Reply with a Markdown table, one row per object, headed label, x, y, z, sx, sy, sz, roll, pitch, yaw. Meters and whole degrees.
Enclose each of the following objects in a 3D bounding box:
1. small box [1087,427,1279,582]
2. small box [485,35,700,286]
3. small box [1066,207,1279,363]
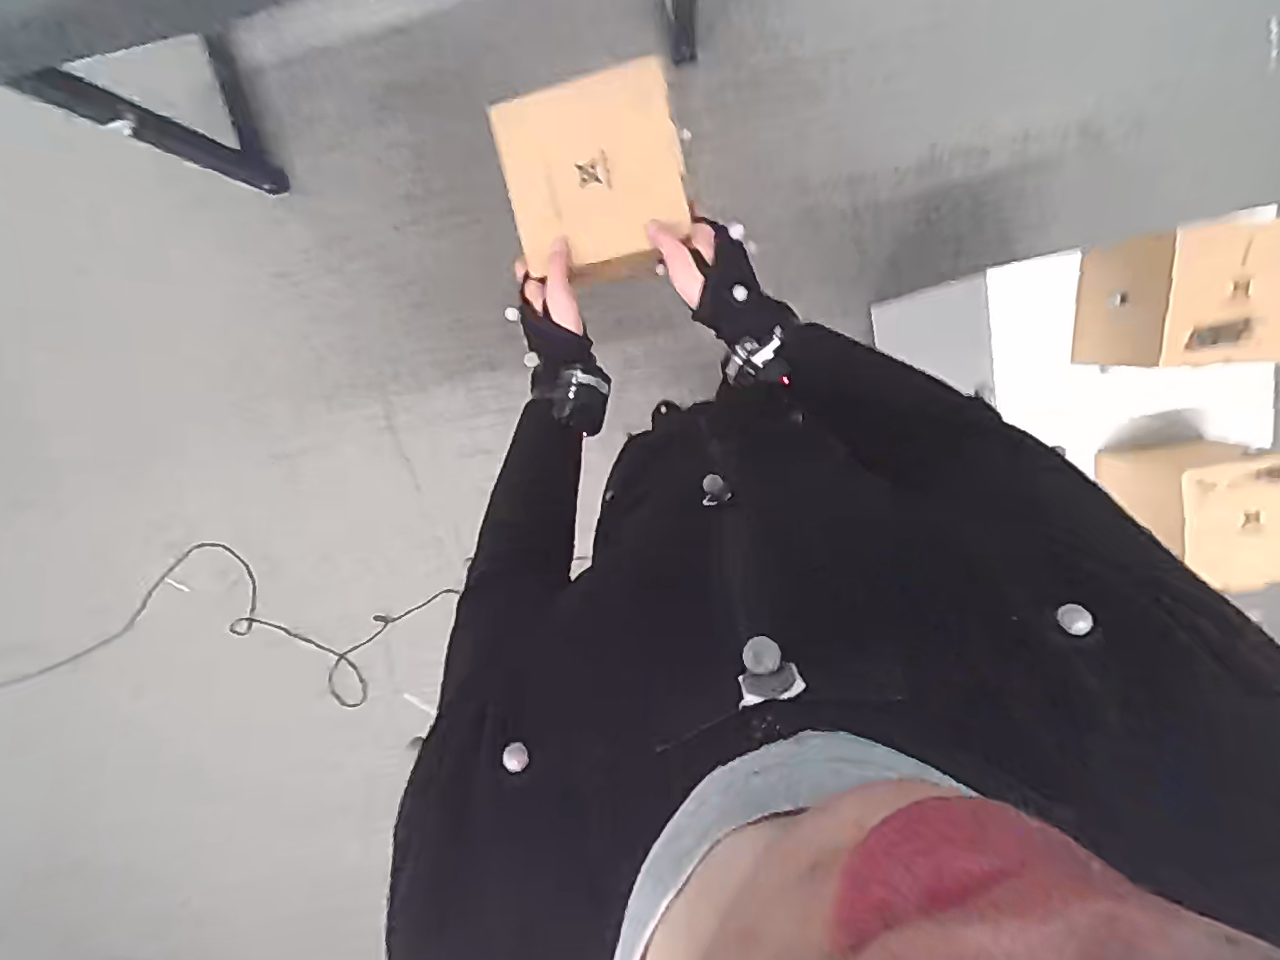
| label | x | y | z | sx | sy | sz | roll | pitch | yaw |
| --- | --- | --- | --- | --- | --- | --- | --- | --- | --- |
| small box | 0.806 | 0.028 | 0.799 | 0.168 | 0.176 | 0.179 | -10 | 102 | 6 |
| small box | -0.036 | -0.322 | 0.588 | 0.179 | 0.176 | 0.168 | -12 | 101 | 10 |
| small box | 0.729 | -0.256 | 0.740 | 0.168 | 0.176 | 0.179 | -3 | 102 | 4 |
